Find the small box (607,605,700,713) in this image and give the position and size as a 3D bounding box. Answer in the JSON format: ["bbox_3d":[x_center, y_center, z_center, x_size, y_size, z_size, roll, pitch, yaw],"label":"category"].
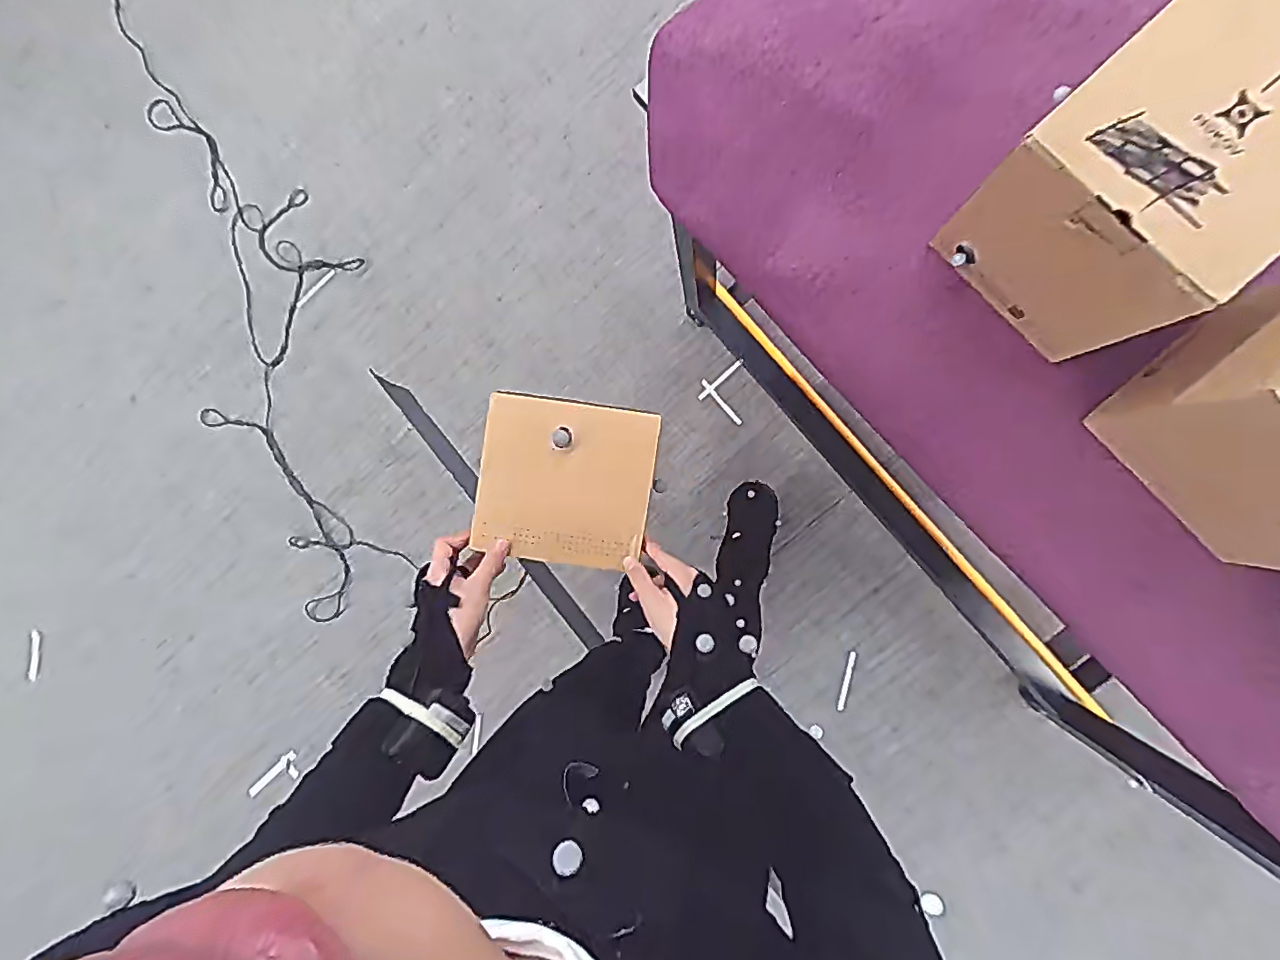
[{"bbox_3d":[0.027,0.387,1.189,0.179,0.176,0.168,12,90,3],"label":"small box"}]

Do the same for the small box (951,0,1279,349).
[{"bbox_3d":[0.384,-0.231,0.426,0.179,0.176,0.168,-43,86,4],"label":"small box"}]
